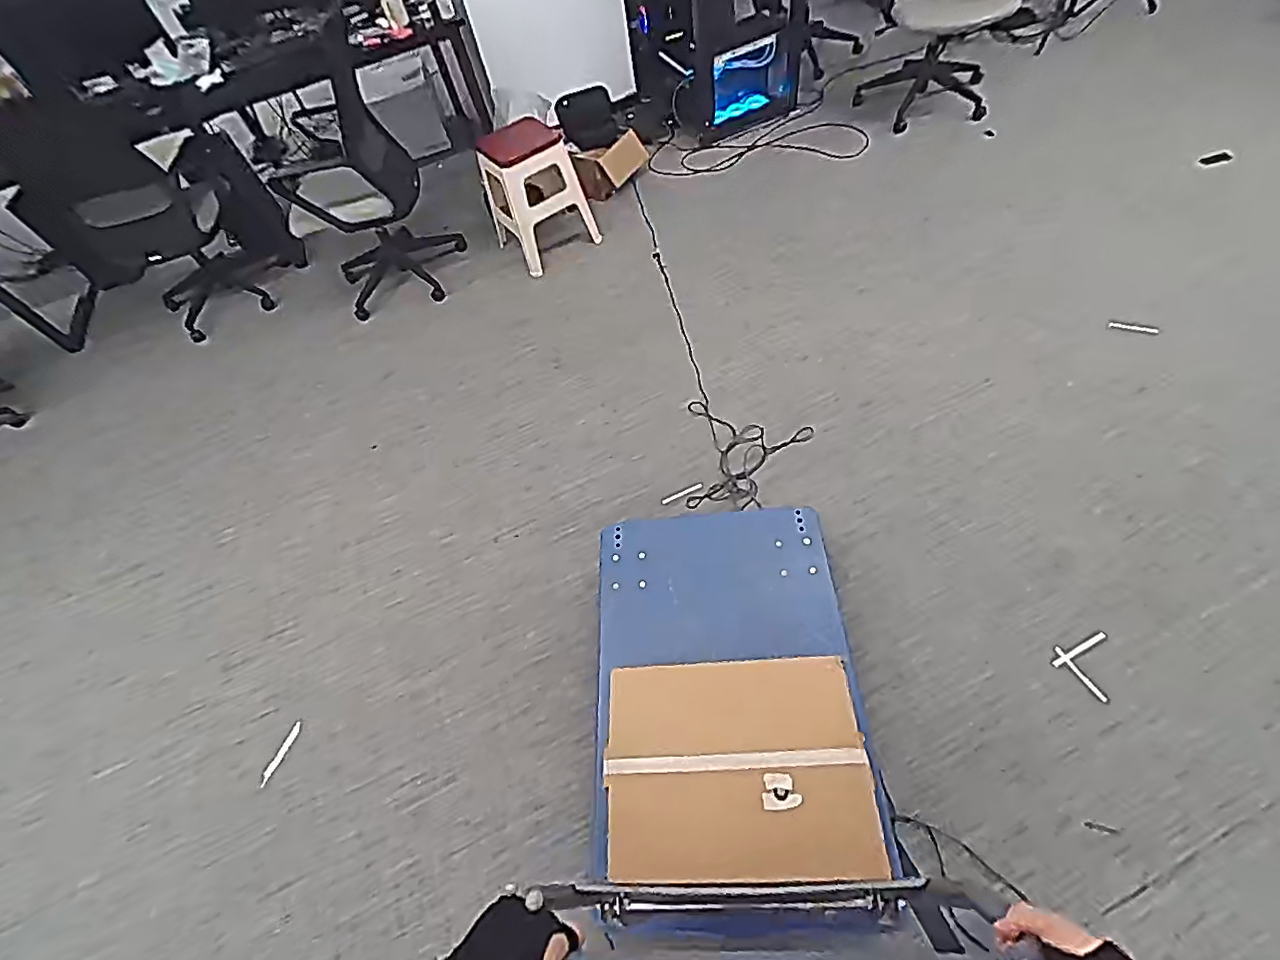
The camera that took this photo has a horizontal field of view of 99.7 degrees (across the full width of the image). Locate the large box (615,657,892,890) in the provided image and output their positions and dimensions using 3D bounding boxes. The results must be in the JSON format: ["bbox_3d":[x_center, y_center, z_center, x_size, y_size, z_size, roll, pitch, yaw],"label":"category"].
[{"bbox_3d":[0.176,0.536,0.983,0.408,0.320,0.320,-6,56,6],"label":"large box"}]
